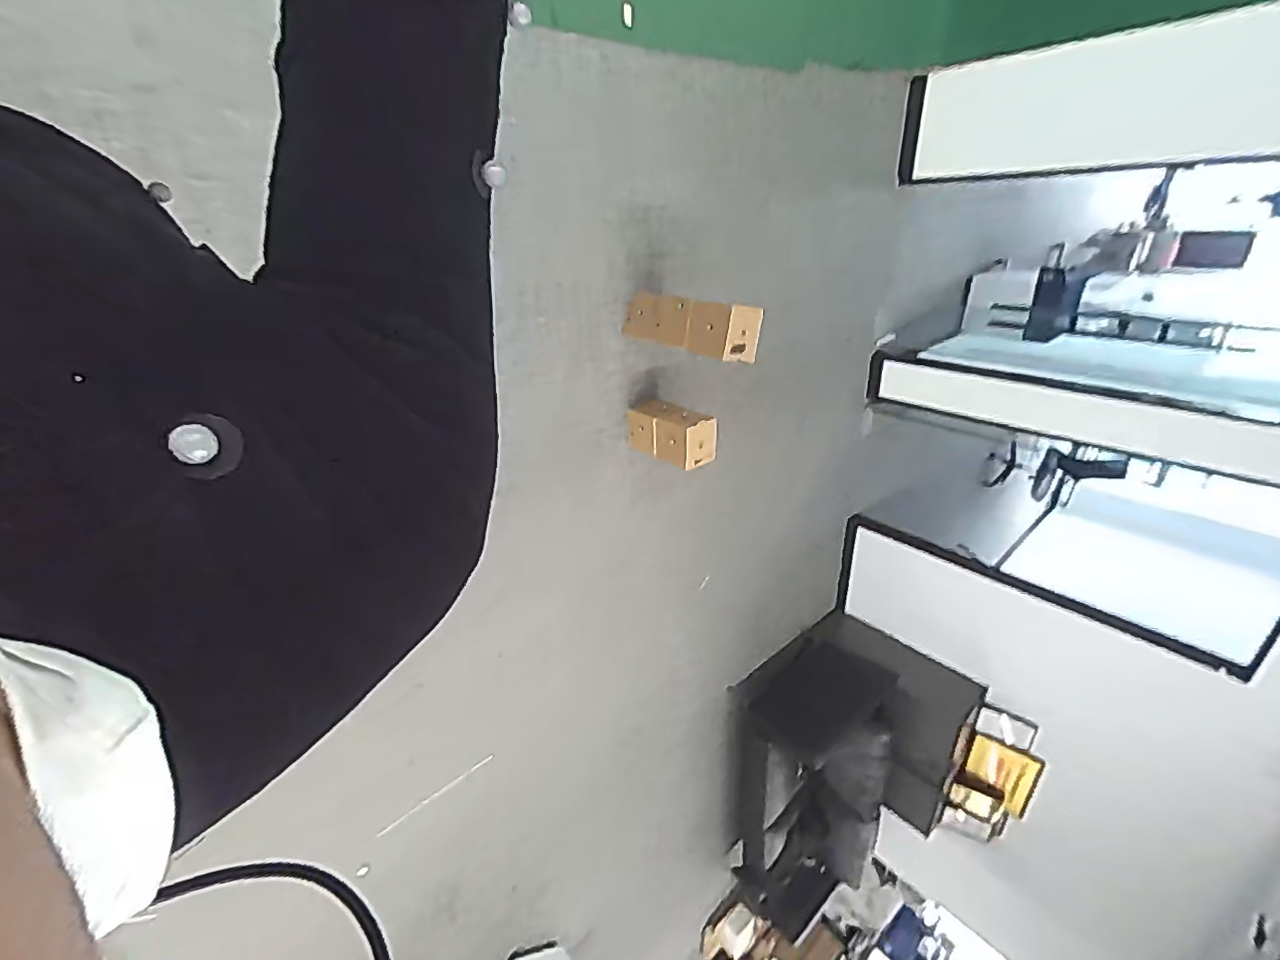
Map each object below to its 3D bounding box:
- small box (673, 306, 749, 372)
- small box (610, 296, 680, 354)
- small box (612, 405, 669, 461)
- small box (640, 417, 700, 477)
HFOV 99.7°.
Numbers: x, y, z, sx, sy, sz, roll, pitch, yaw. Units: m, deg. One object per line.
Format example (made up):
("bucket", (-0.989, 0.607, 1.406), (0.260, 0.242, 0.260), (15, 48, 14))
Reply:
("small box", (0.230, -0.465, 1.786), (0.168, 0.176, 0.179), (-6, 113, -43))
("small box", (0.014, -0.577, 2.007), (0.179, 0.176, 0.168), (1, 109, -46))
("small box", (-0.001, -0.195, 2.187), (0.179, 0.176, 0.168), (-23, 124, -36))
("small box", (0.111, -0.136, 2.082), (0.168, 0.176, 0.179), (-20, 122, -37))
